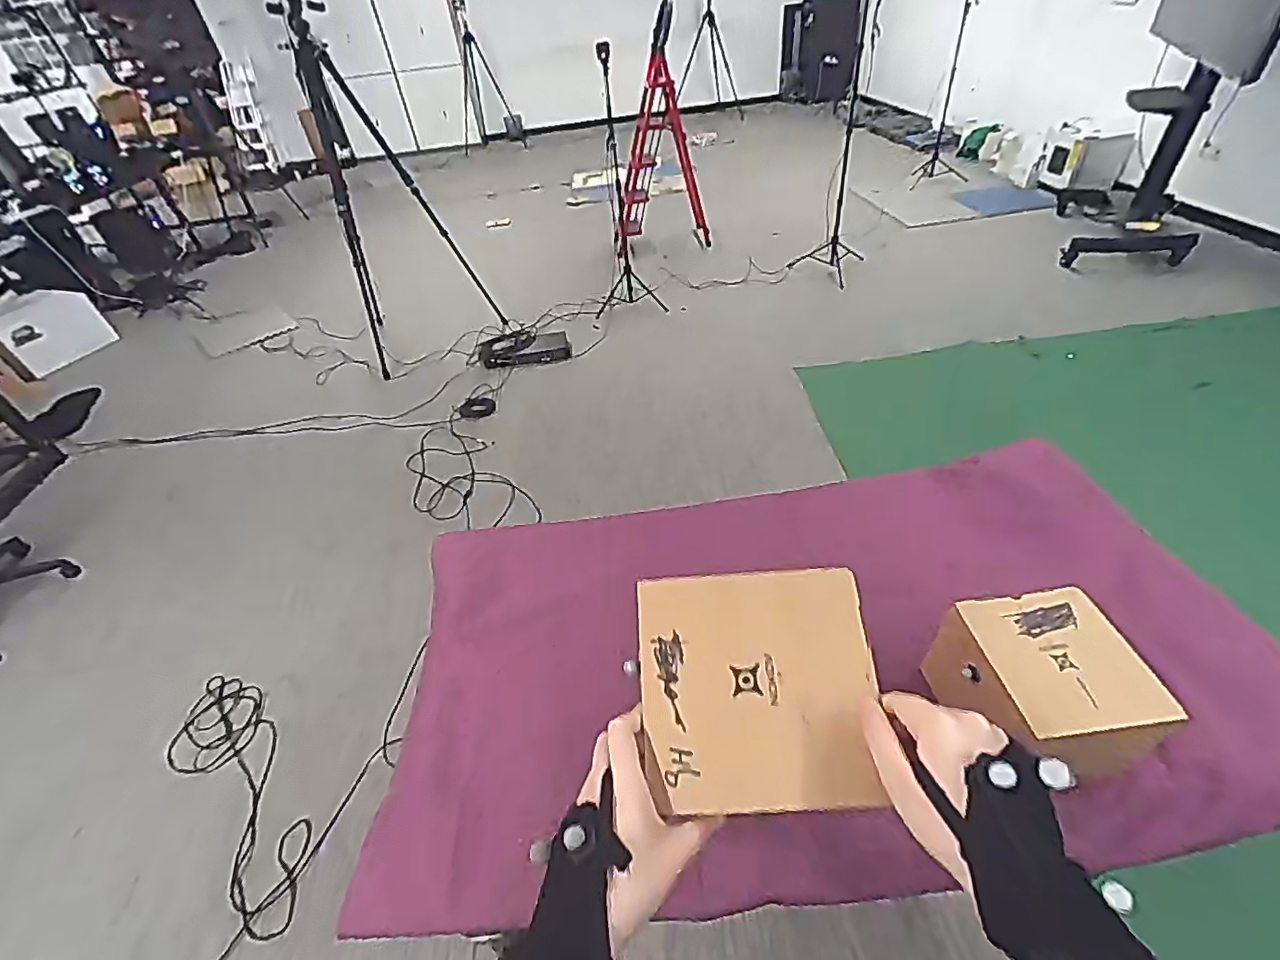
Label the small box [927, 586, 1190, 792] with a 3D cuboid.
[{"bbox_3d":[0.493,0.260,0.677,0.168,0.176,0.179,-8,43,0],"label":"small box"}]

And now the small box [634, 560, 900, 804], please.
[{"bbox_3d":[0.087,0.176,0.462,0.179,0.176,0.168,-3,61,3],"label":"small box"}]
